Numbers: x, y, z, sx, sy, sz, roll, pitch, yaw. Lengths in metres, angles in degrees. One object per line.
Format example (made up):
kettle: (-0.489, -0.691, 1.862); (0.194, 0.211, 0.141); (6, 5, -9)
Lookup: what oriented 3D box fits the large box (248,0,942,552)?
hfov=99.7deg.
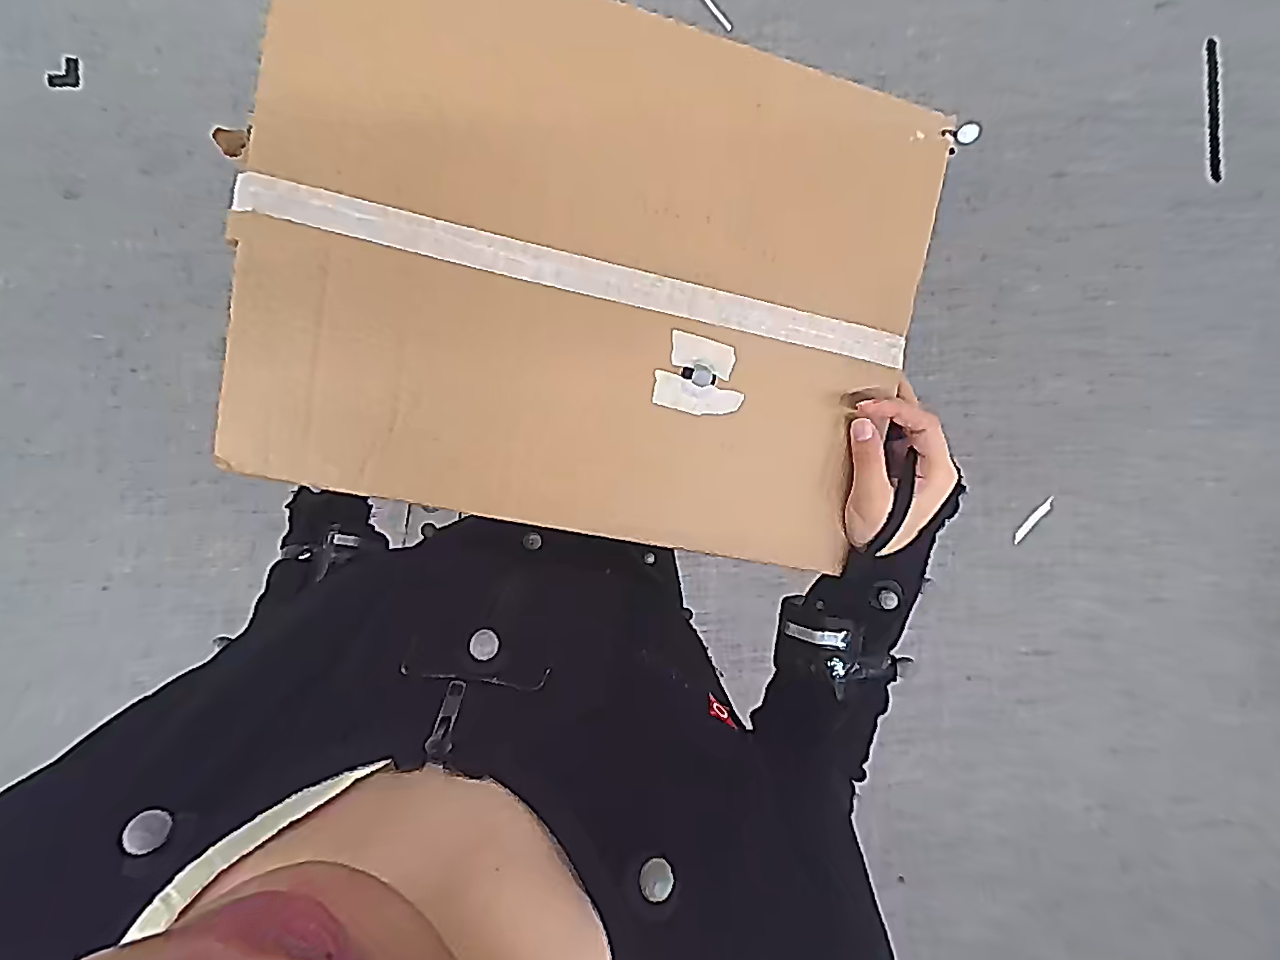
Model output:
large box: (-0.039, -0.145, 0.486); (0.408, 0.320, 0.320); (11, 95, -11)
